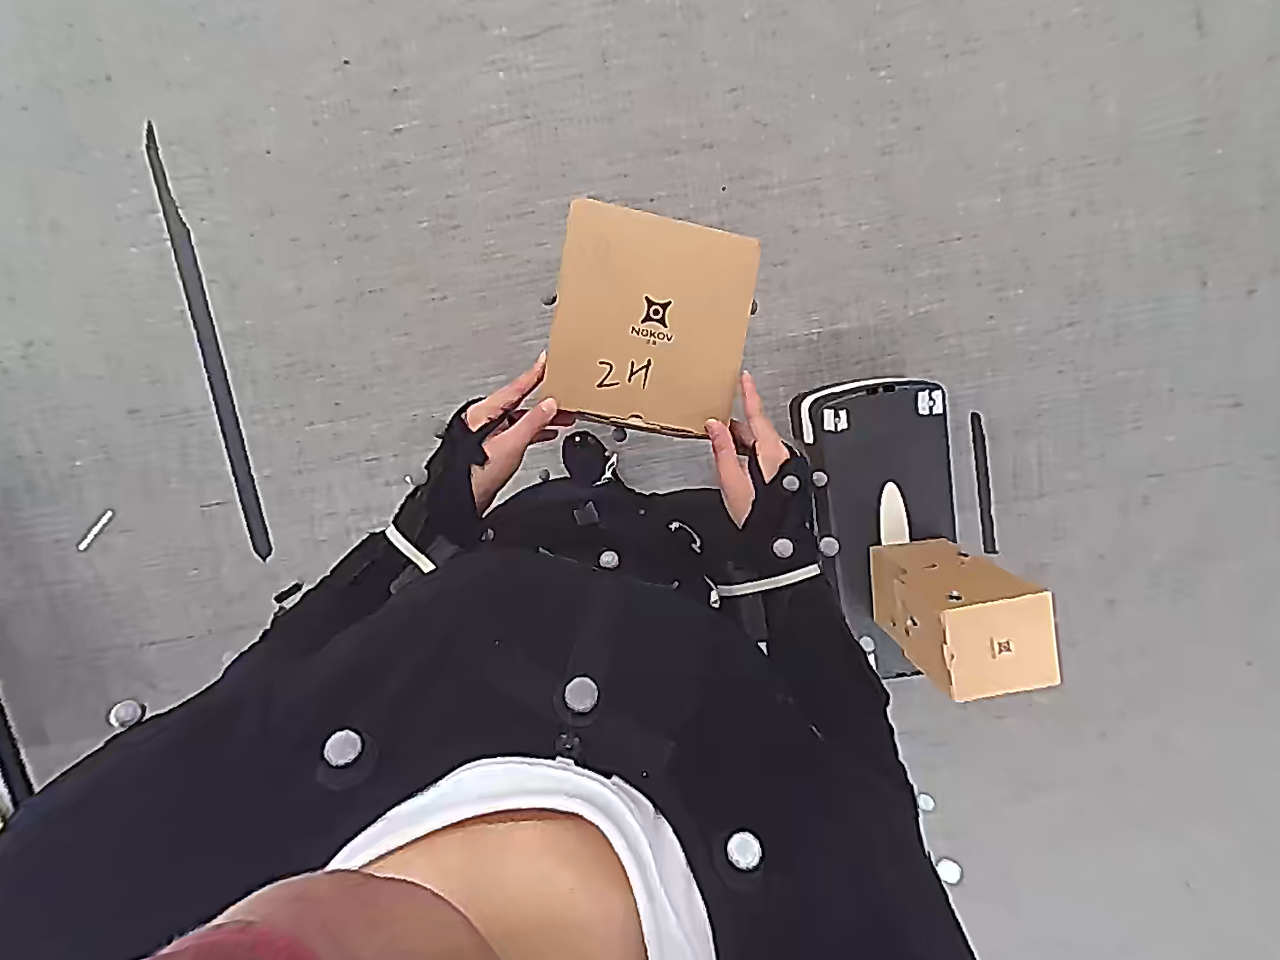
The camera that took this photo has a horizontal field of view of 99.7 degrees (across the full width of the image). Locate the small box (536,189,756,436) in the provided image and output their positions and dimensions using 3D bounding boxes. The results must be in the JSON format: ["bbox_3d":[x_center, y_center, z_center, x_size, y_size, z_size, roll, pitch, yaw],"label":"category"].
[{"bbox_3d":[-0.005,-0.144,0.532,0.168,0.176,0.179,10,93,-8],"label":"small box"}]

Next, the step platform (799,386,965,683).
[{"bbox_3d":[0.577,0.126,1.274,0.286,0.204,0.684,-10,97,1],"label":"step platform"}]

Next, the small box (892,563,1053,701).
[{"bbox_3d":[0.576,0.257,0.954,0.179,0.176,0.168,-12,98,3],"label":"small box"}]
